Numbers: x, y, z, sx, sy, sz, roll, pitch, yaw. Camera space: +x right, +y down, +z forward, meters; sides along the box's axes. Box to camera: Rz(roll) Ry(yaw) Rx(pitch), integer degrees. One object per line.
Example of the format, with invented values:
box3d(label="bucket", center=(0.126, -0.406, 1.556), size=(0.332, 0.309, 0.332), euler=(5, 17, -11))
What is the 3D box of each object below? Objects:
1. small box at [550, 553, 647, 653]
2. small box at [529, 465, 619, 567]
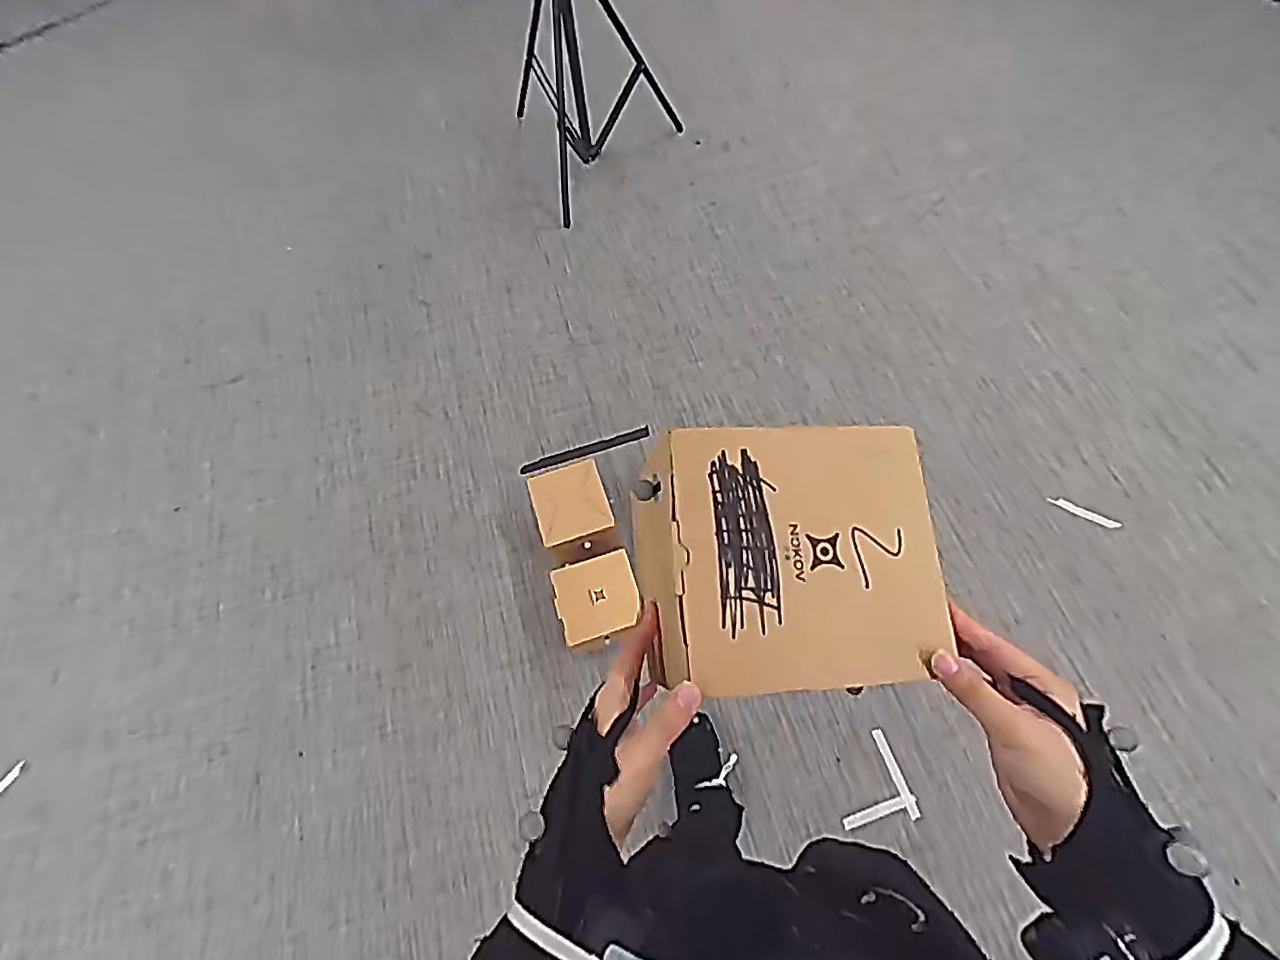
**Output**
box3d(label="small box", center=(-0.088, 0.283, 1.227), size=(0.179, 0.176, 0.168), euler=(-17, 68, -4))
box3d(label="small box", center=(-0.158, 0.086, 1.306), size=(0.168, 0.176, 0.179), euler=(-19, 68, -4))
